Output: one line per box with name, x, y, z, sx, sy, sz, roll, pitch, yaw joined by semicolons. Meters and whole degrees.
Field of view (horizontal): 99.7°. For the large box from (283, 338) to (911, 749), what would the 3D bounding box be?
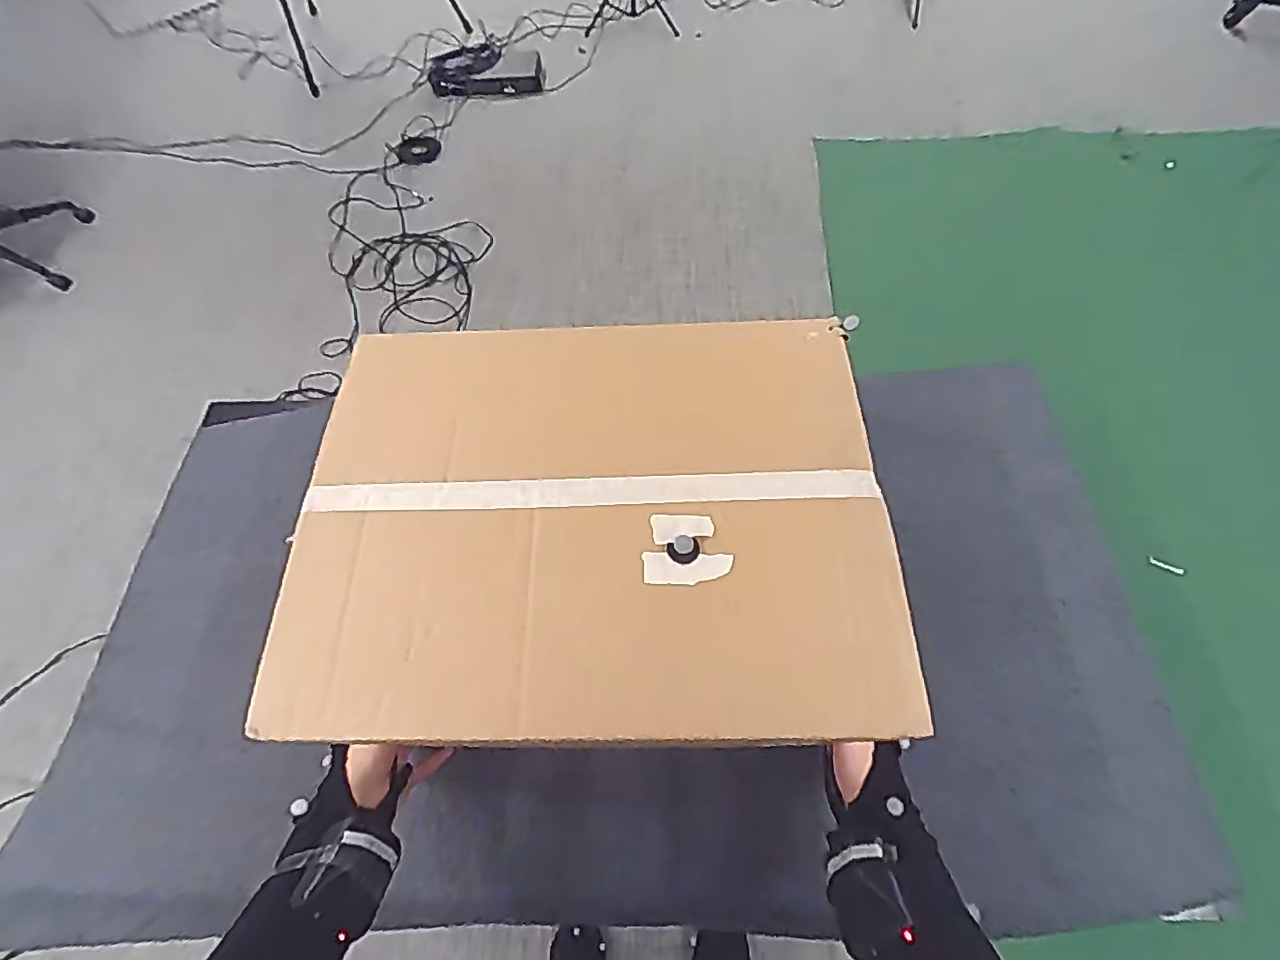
large box;-0.028;0.087;0.535;0.408;0.320;0.320;-1;64;2
